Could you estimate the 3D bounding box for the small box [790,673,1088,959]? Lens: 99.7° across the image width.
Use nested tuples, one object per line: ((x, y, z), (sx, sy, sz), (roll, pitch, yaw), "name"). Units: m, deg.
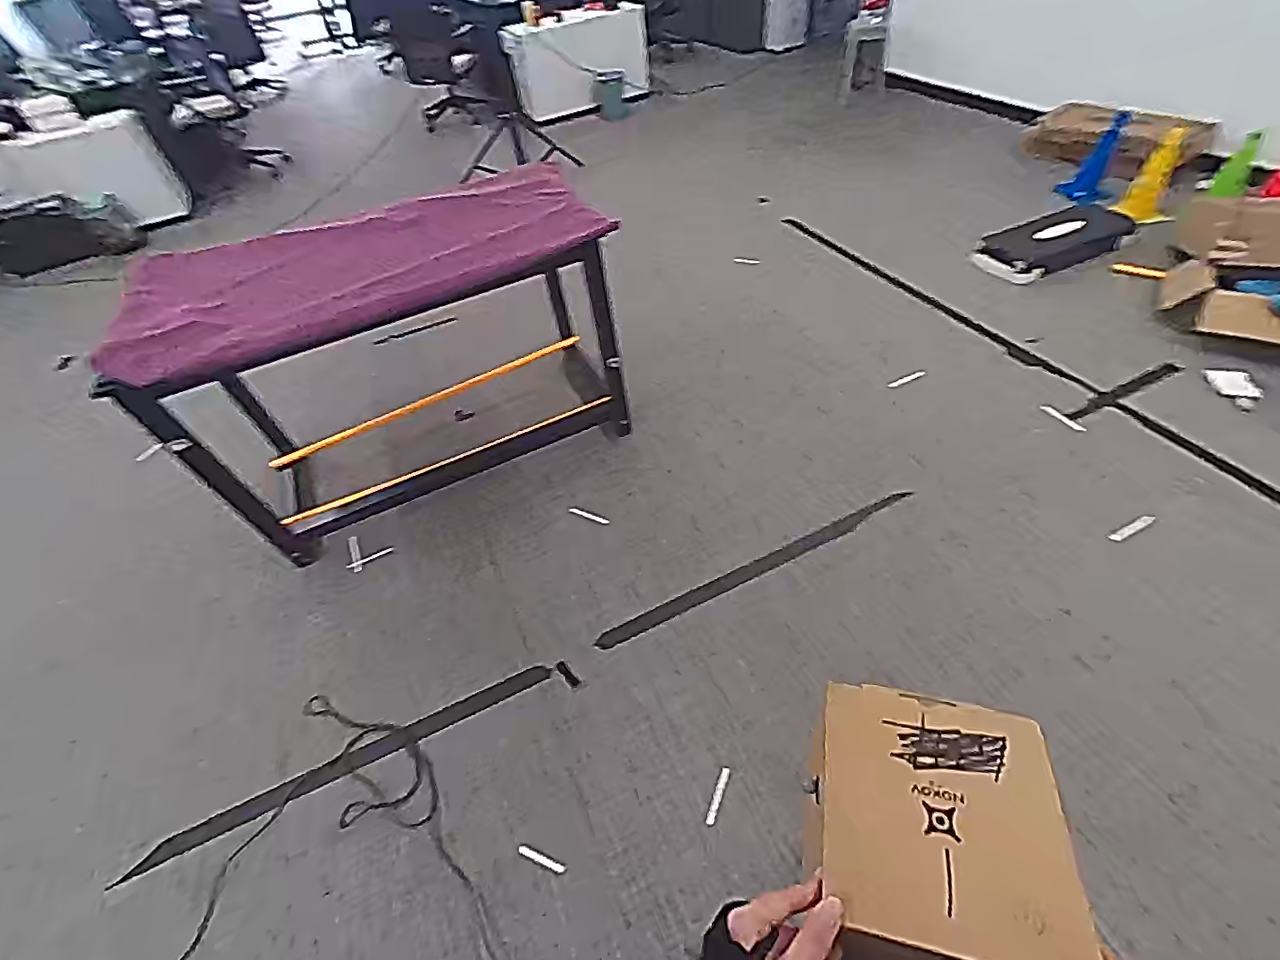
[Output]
((0.221, 0.298, 0.454), (0.168, 0.176, 0.179), (6, 41, 15), "small box")
